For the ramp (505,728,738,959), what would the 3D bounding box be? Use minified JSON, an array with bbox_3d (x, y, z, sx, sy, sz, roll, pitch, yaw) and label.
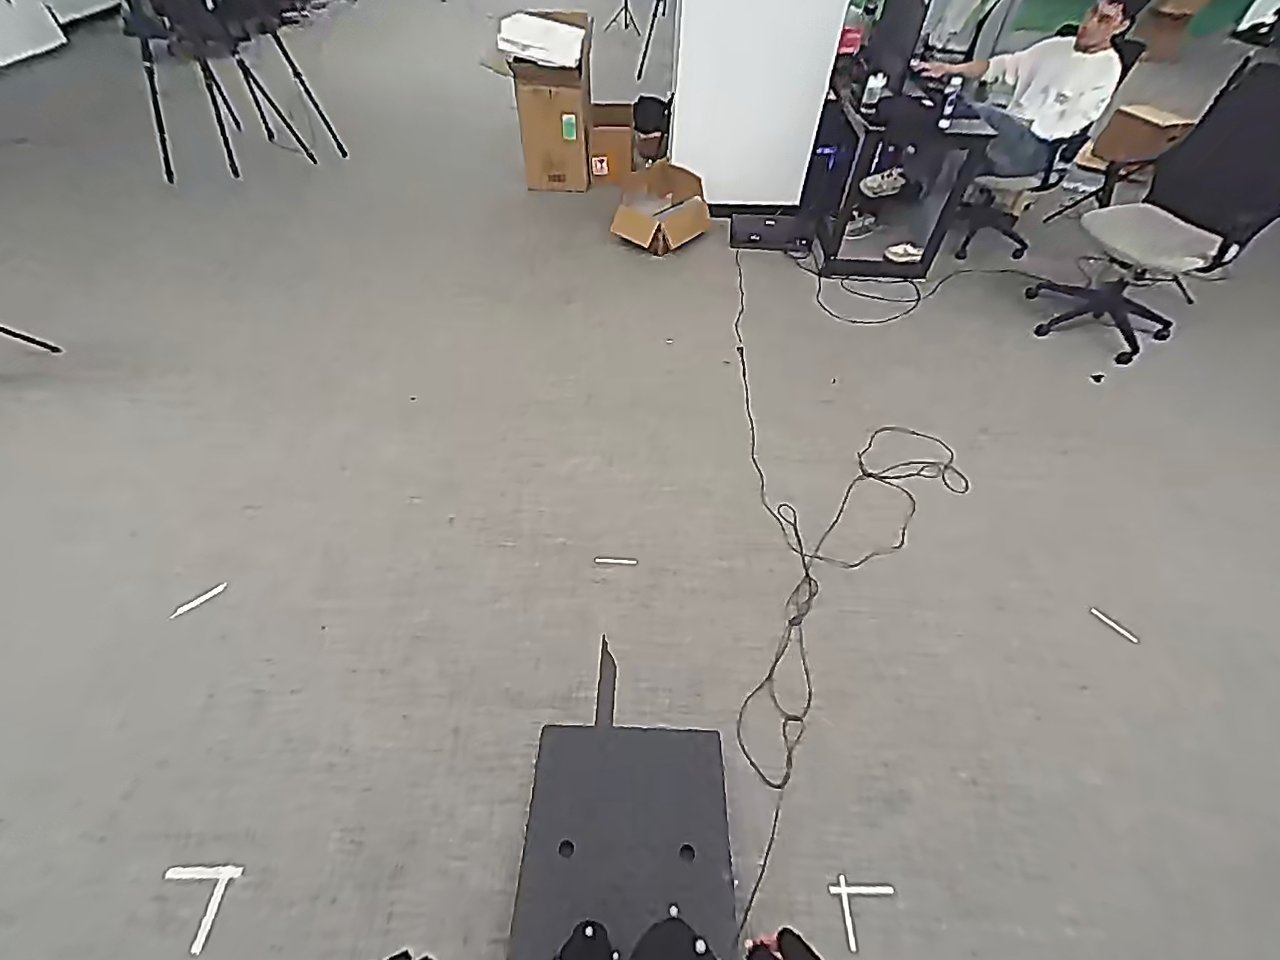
[{"bbox_3d":[-0.040,1.016,1.115,0.509,0.206,0.991,0,50,0],"label":"ramp"}]
